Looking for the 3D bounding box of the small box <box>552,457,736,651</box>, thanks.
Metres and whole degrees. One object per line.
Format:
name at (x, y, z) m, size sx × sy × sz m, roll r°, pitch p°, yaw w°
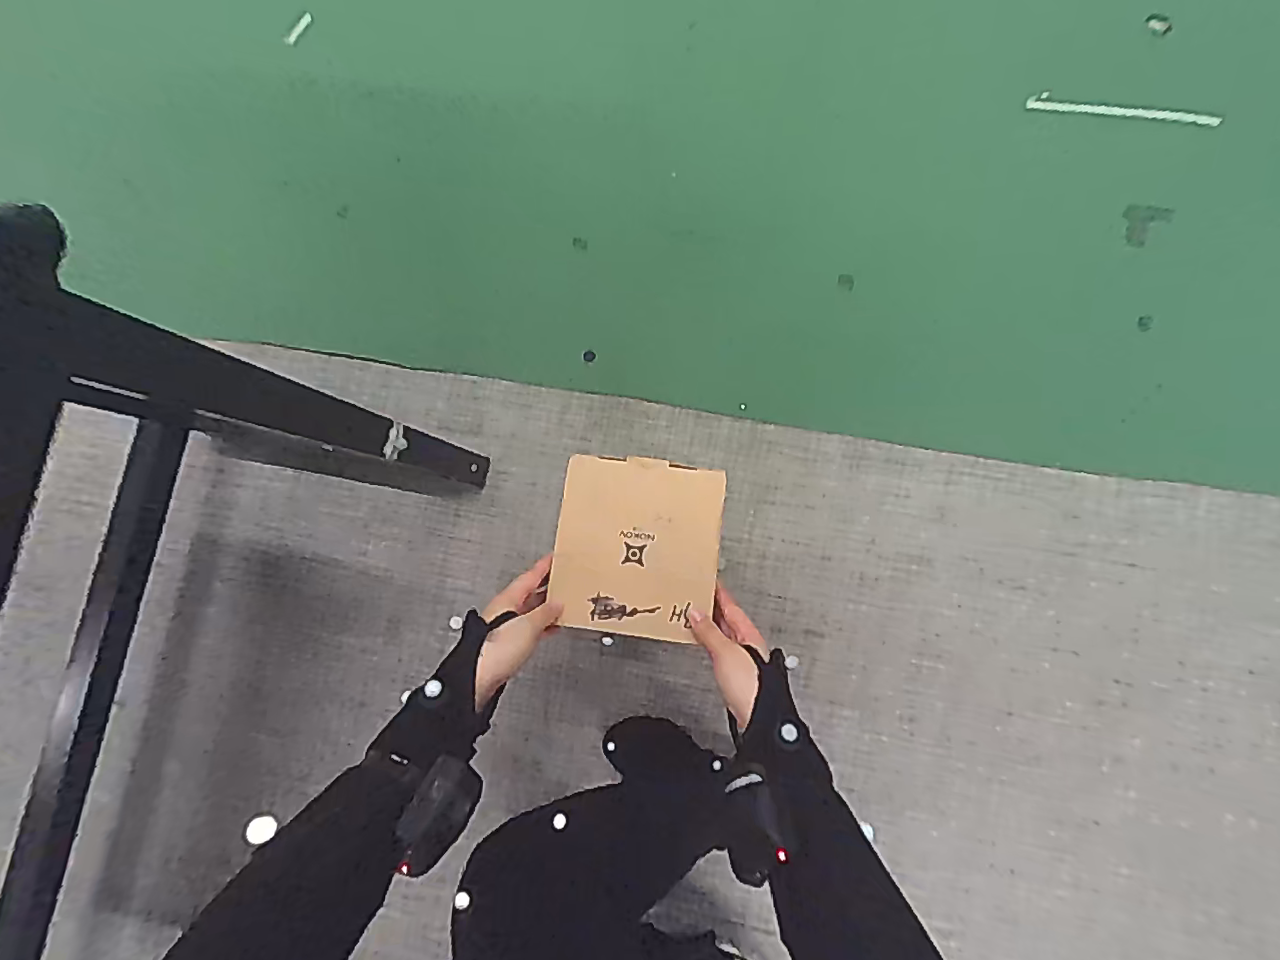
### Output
small box at (0.009, 0.086, 0.620) m, size 0.168 × 0.176 × 0.179 m, roll 7°, pitch 80°, yaw 5°
